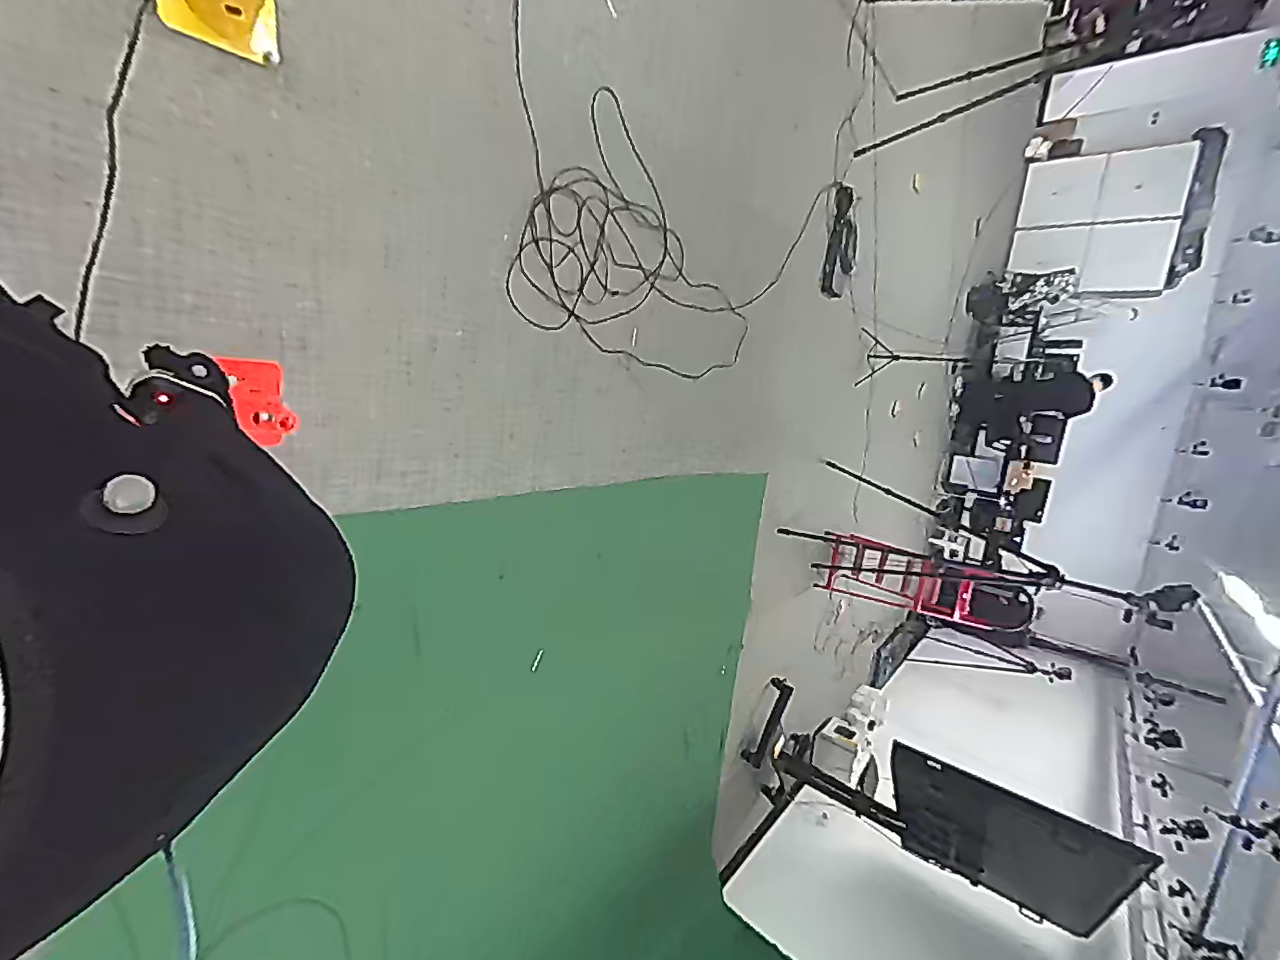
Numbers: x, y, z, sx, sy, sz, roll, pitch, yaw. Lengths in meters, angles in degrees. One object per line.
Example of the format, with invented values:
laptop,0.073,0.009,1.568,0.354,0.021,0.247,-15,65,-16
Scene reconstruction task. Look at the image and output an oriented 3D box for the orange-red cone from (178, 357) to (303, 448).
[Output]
orange-red cone,-0.789,-0.140,1.121,0.198,0.360,0.199,-6,104,-51
